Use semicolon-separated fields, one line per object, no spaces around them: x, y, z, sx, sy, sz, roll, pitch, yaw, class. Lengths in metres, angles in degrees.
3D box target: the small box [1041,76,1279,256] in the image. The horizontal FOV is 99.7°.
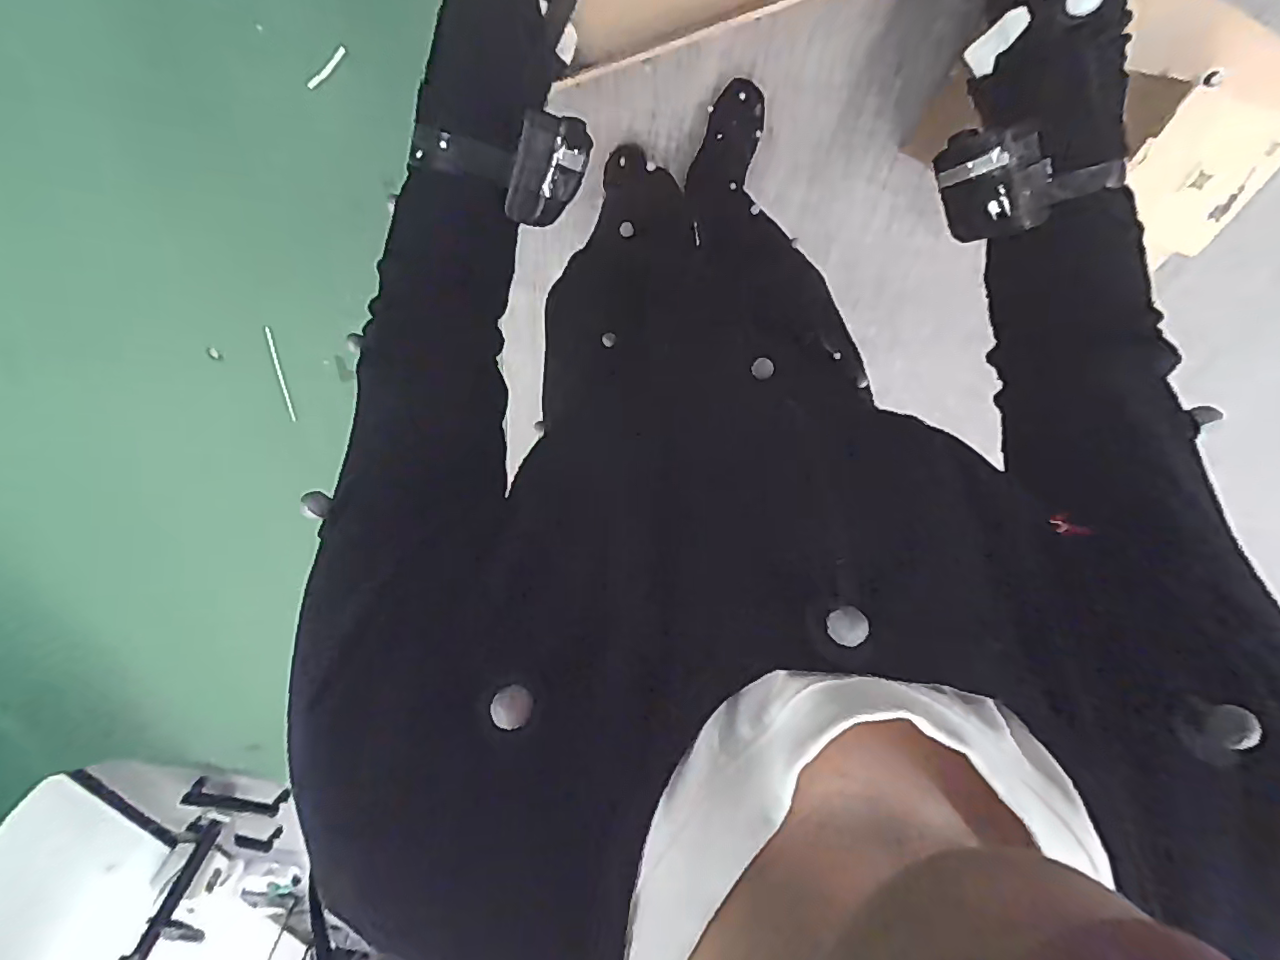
0.730;-0.450;0.768;0.179;0.176;0.168;15;131;-6;small box
